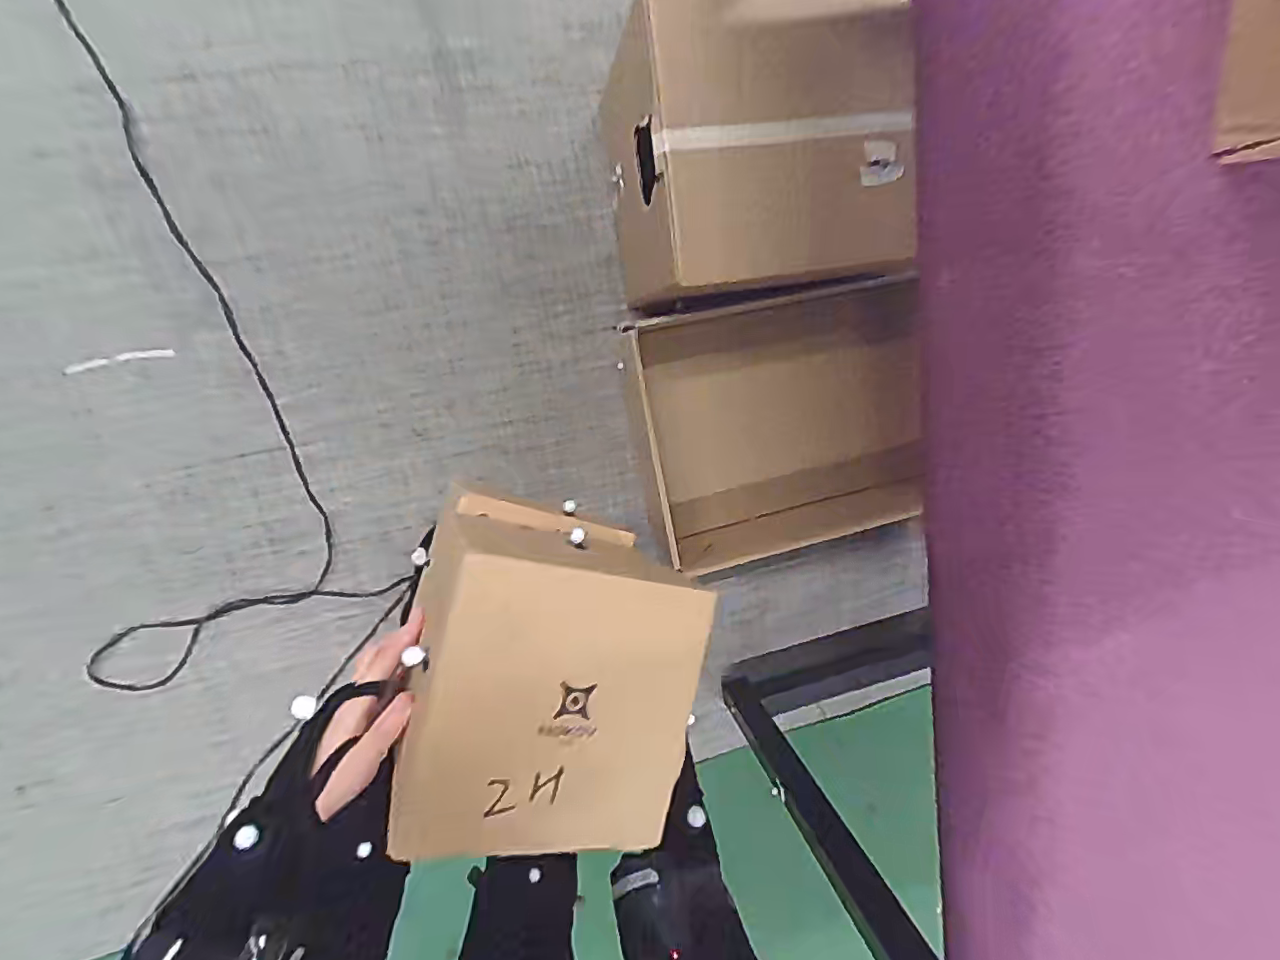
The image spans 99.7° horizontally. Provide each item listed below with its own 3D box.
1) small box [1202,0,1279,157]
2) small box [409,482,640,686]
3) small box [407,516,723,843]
[{"bbox_3d":[0.360,-0.228,0.179,0.179,0.176,0.168,-10,104,-10],"label":"small box"},{"bbox_3d":[-0.125,0.109,0.559,0.168,0.176,0.179,19,86,-23],"label":"small box"},{"bbox_3d":[-0.066,0.131,0.404,0.168,0.176,0.179,16,87,-22],"label":"small box"}]
